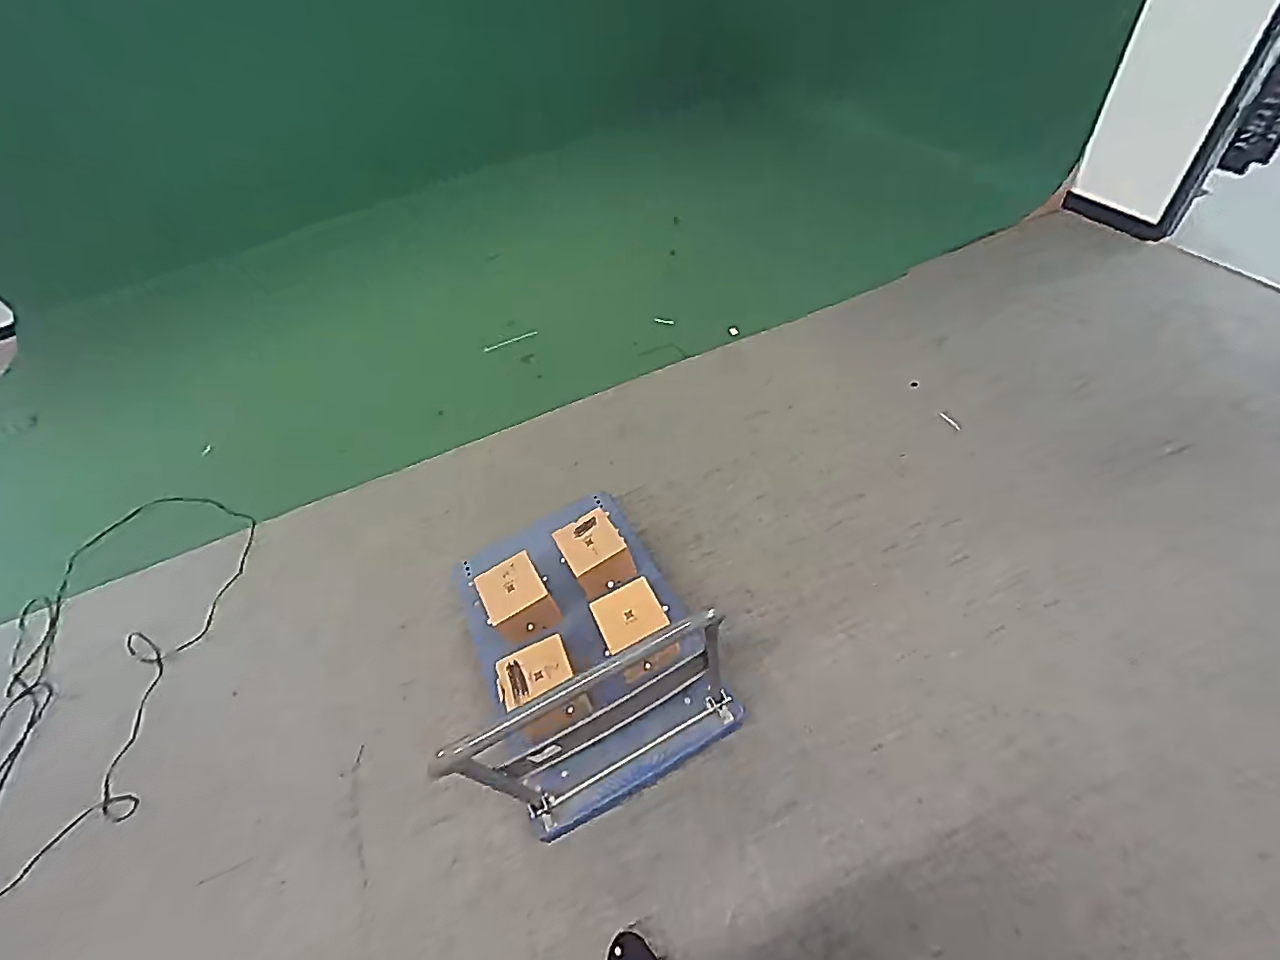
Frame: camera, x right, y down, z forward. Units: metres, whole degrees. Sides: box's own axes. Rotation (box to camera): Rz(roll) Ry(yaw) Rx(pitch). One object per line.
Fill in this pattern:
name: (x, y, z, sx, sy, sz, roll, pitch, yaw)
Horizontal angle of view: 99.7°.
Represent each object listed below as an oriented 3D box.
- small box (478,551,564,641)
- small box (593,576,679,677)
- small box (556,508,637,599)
small box: (-0.341, 0.346, 1.577, 0.168, 0.176, 0.179, -29, 51, -12)
small box: (-0.008, 0.399, 1.461, 0.168, 0.176, 0.179, -26, 51, -9)
small box: (-0.127, 0.223, 1.628, 0.168, 0.176, 0.179, -30, 52, -11)
